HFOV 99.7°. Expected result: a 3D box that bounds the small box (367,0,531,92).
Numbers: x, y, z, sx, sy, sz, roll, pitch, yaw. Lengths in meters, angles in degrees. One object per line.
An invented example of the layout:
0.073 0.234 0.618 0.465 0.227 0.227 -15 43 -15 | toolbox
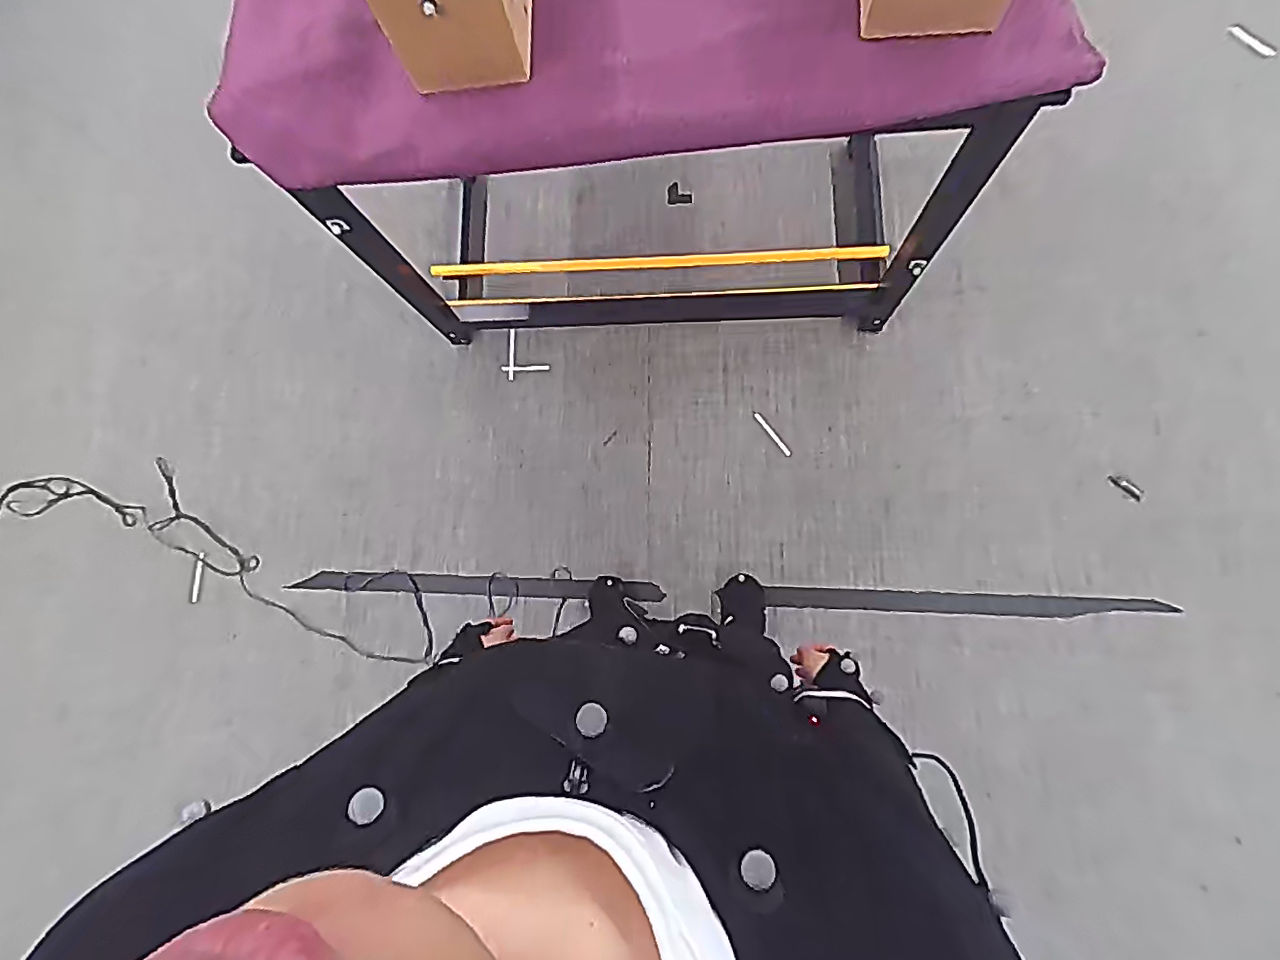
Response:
-0.255 -0.678 0.743 0.179 0.176 0.168 -2 80 6 | small box

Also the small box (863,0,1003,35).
0.387 -0.700 0.673 0.179 0.176 0.168 2 79 6 | small box
